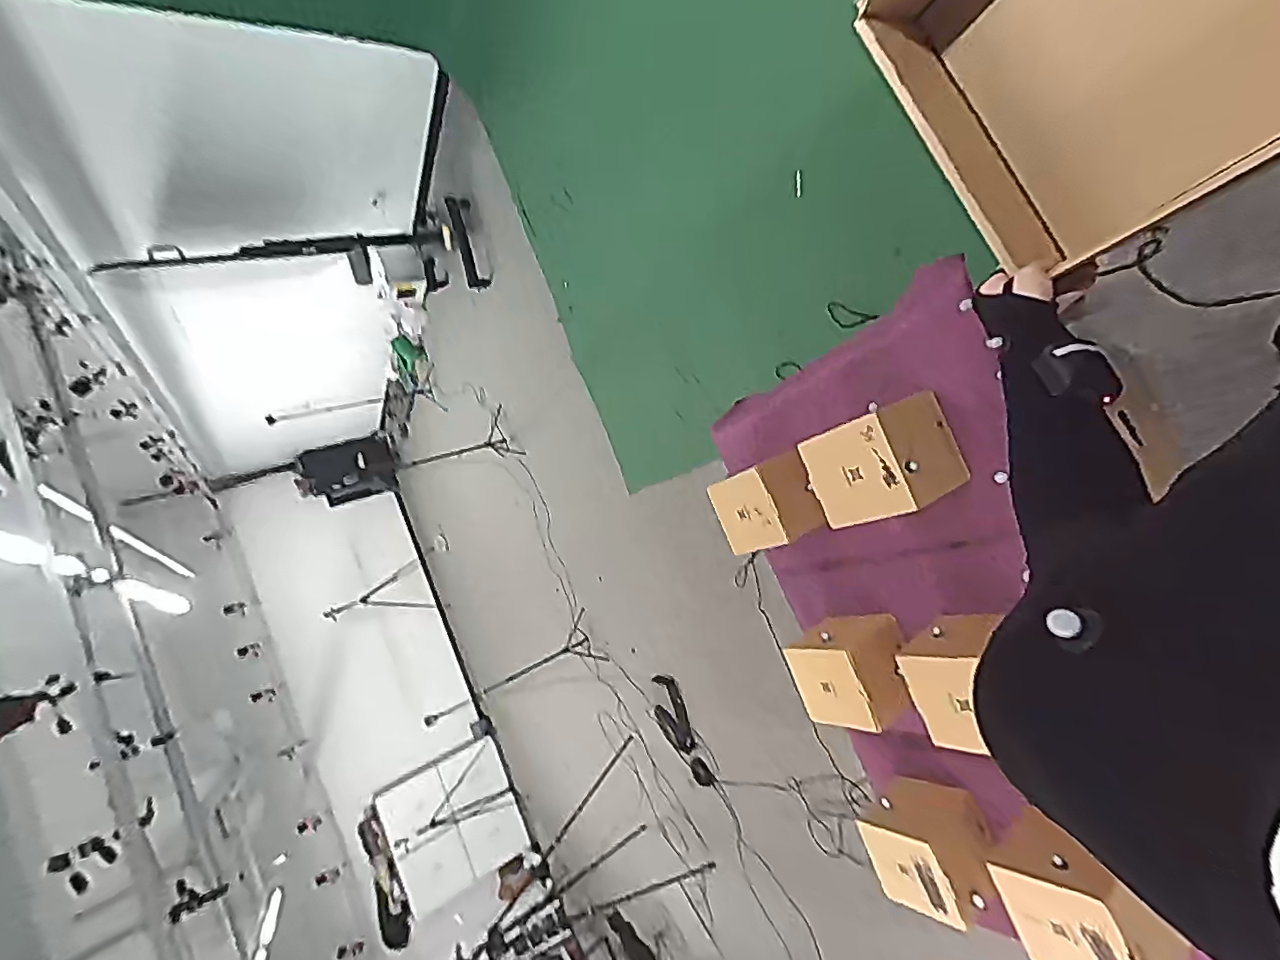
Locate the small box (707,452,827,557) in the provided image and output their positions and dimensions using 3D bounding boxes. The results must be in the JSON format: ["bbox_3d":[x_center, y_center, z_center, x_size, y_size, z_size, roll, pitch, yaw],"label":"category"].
[{"bbox_3d":[0.285,0.053,1.182,0.179,0.176,0.168,-29,84,57],"label":"small box"}]

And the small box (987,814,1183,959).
[{"bbox_3d":[0.712,0.673,0.863,0.179,0.176,0.168,-34,77,59],"label":"small box"}]

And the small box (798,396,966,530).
[{"bbox_3d":[0.417,-0.027,0.940,0.179,0.176,0.168,-29,83,60],"label":"small box"}]

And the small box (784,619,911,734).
[{"bbox_3d":[0.444,0.402,1.133,0.179,0.176,0.168,-28,82,57],"label":"small box"}]

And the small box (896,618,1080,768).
[{"bbox_3d":[0.575,0.339,0.899,0.179,0.176,0.168,-29,83,58],"label":"small box"}]
